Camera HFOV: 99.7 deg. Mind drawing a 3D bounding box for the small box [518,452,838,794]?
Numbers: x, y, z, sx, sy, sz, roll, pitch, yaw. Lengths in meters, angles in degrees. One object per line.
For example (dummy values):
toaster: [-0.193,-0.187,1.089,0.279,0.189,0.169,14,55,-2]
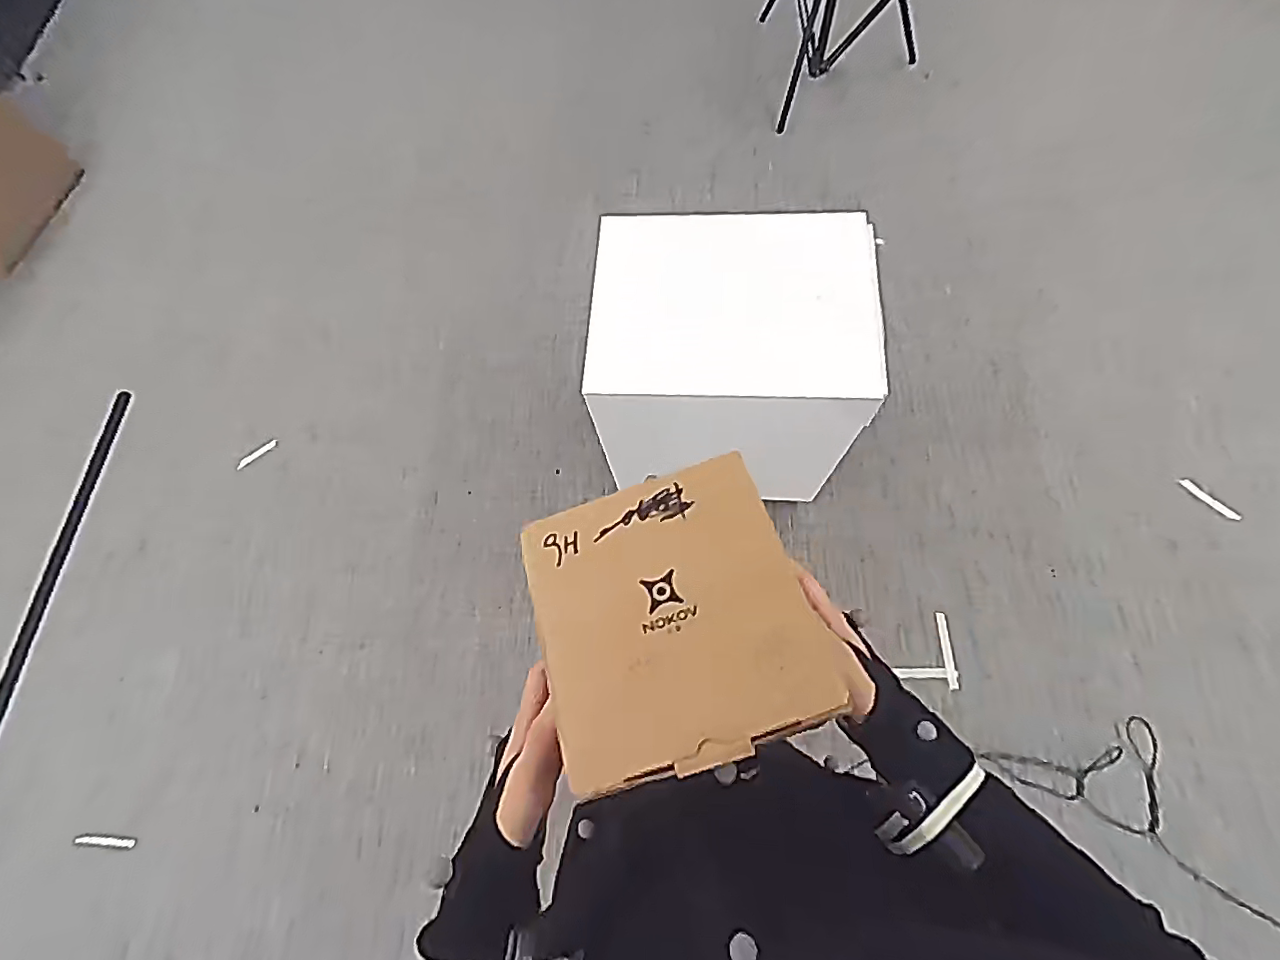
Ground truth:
small box: [0.028,0.111,0.411,0.168,0.176,0.179,-19,62,2]
